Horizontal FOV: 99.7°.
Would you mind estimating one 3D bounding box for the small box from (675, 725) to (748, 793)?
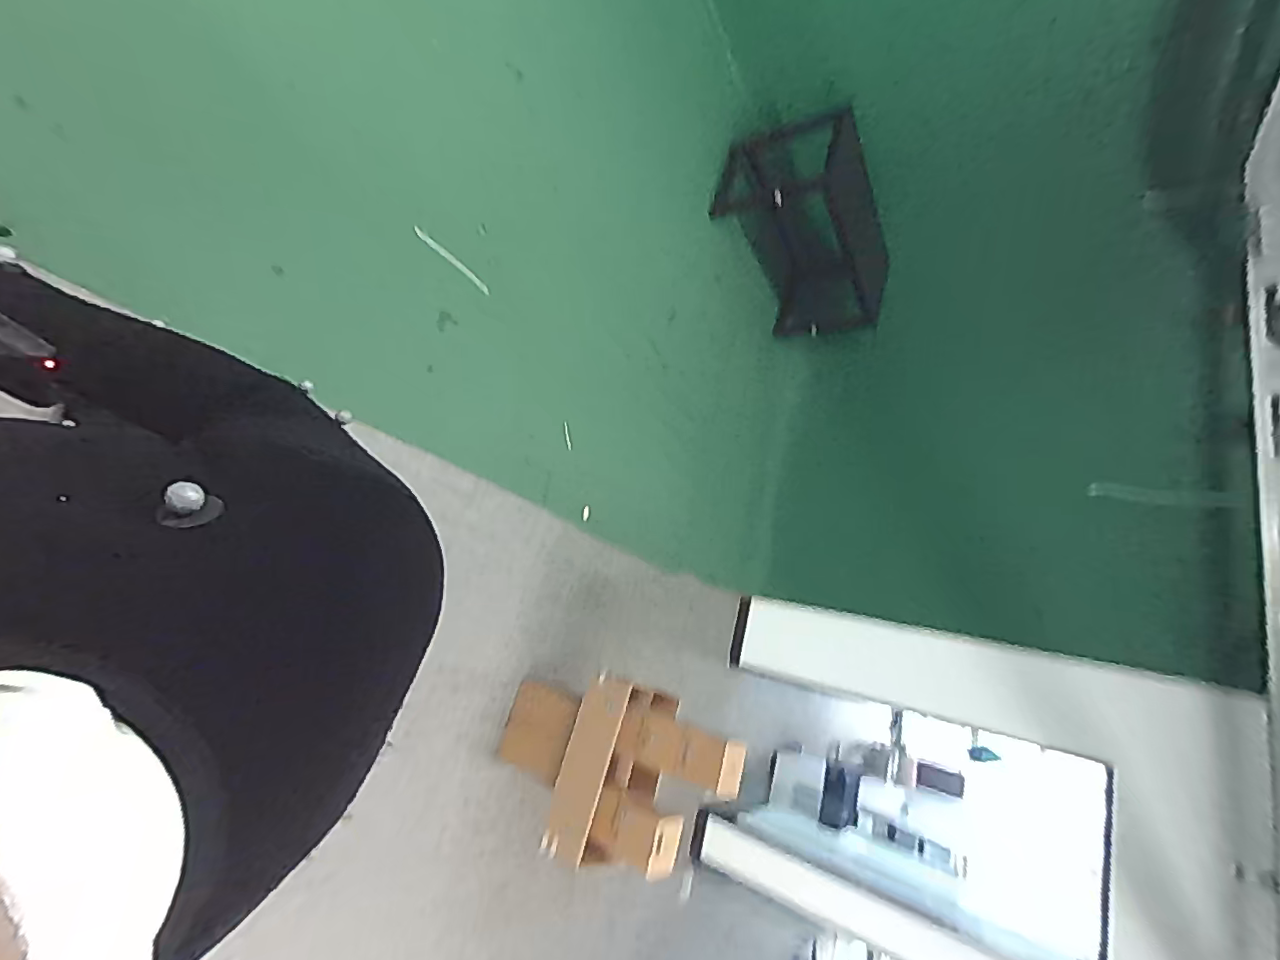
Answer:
[{"bbox_3d":[0.245,0.948,1.844,0.179,0.176,0.168,37,62,-48],"label":"small box"}]

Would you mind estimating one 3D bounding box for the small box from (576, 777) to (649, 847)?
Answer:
[{"bbox_3d":[-0.099,1.194,1.951,0.179,0.176,0.168,41,61,-46],"label":"small box"}]

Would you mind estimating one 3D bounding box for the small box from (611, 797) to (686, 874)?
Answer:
[{"bbox_3d":[0.027,1.207,1.846,0.179,0.176,0.168,36,65,-49],"label":"small box"}]

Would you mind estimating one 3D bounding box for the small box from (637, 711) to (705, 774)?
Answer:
[{"bbox_3d":[0.116,0.941,1.942,0.179,0.176,0.168,36,63,-49],"label":"small box"}]
